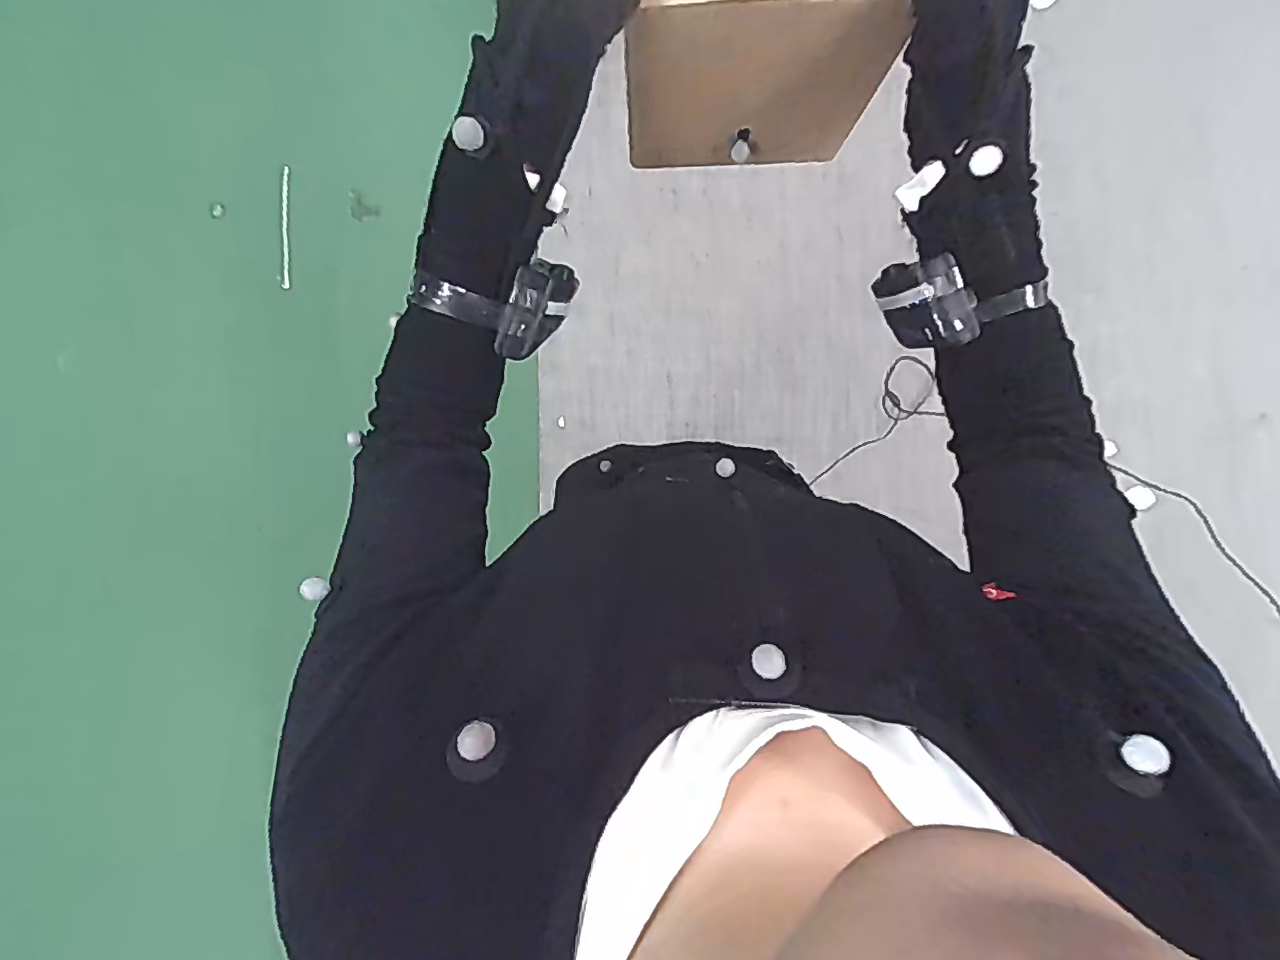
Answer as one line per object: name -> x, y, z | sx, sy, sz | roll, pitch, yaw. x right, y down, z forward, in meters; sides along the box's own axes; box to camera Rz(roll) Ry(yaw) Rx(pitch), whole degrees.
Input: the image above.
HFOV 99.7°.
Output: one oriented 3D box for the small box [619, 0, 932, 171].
small box -> 0.074, -0.344, 0.380 | 0.179, 0.176, 0.168 | -2, 90, -1
